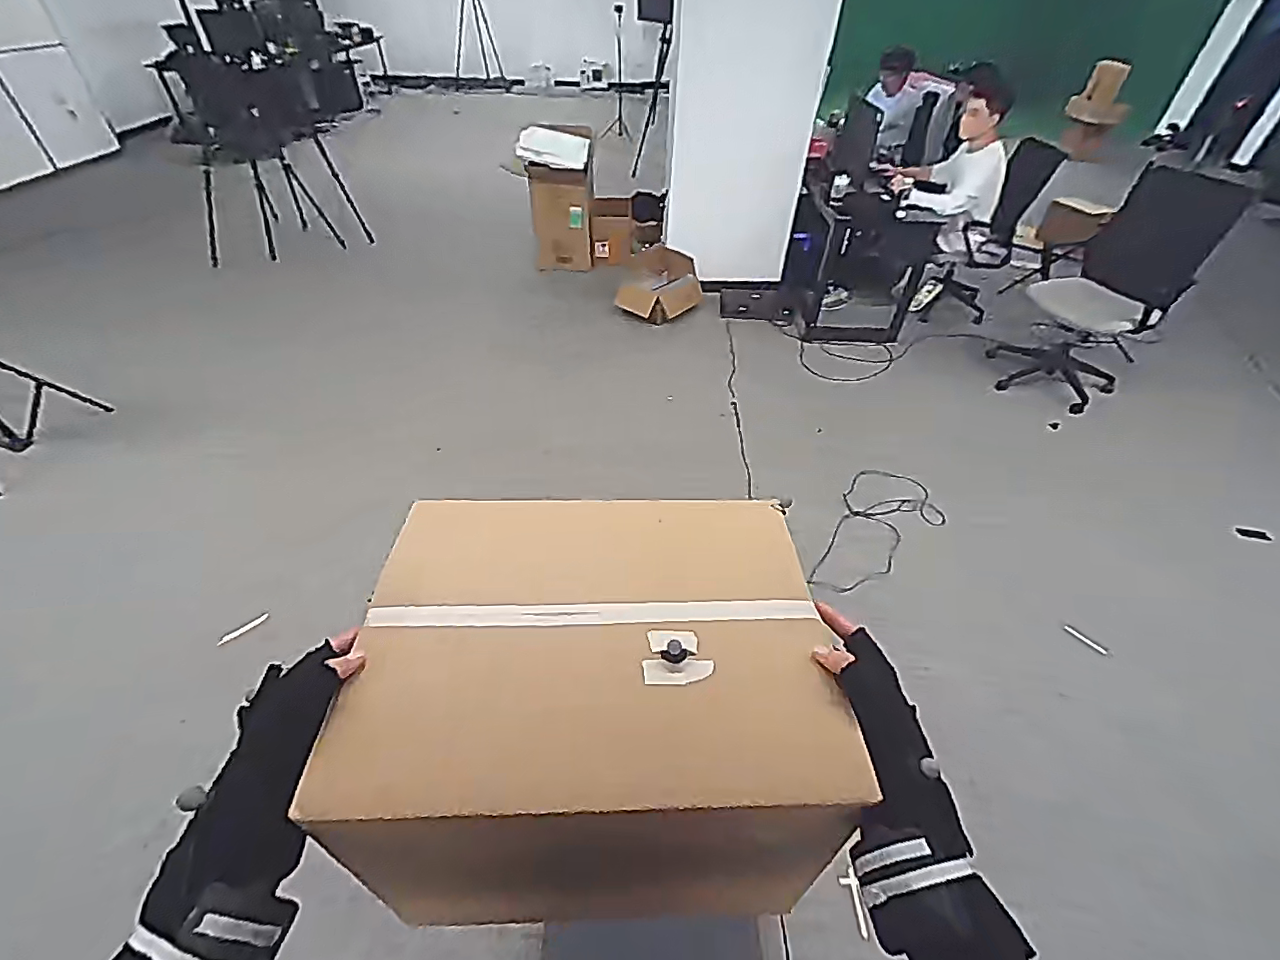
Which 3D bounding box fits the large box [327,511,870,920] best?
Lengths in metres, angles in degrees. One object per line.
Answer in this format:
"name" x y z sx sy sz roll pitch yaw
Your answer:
"large box" -0.037 0.247 0.597 0.408 0.320 0.320 0 40 -3
